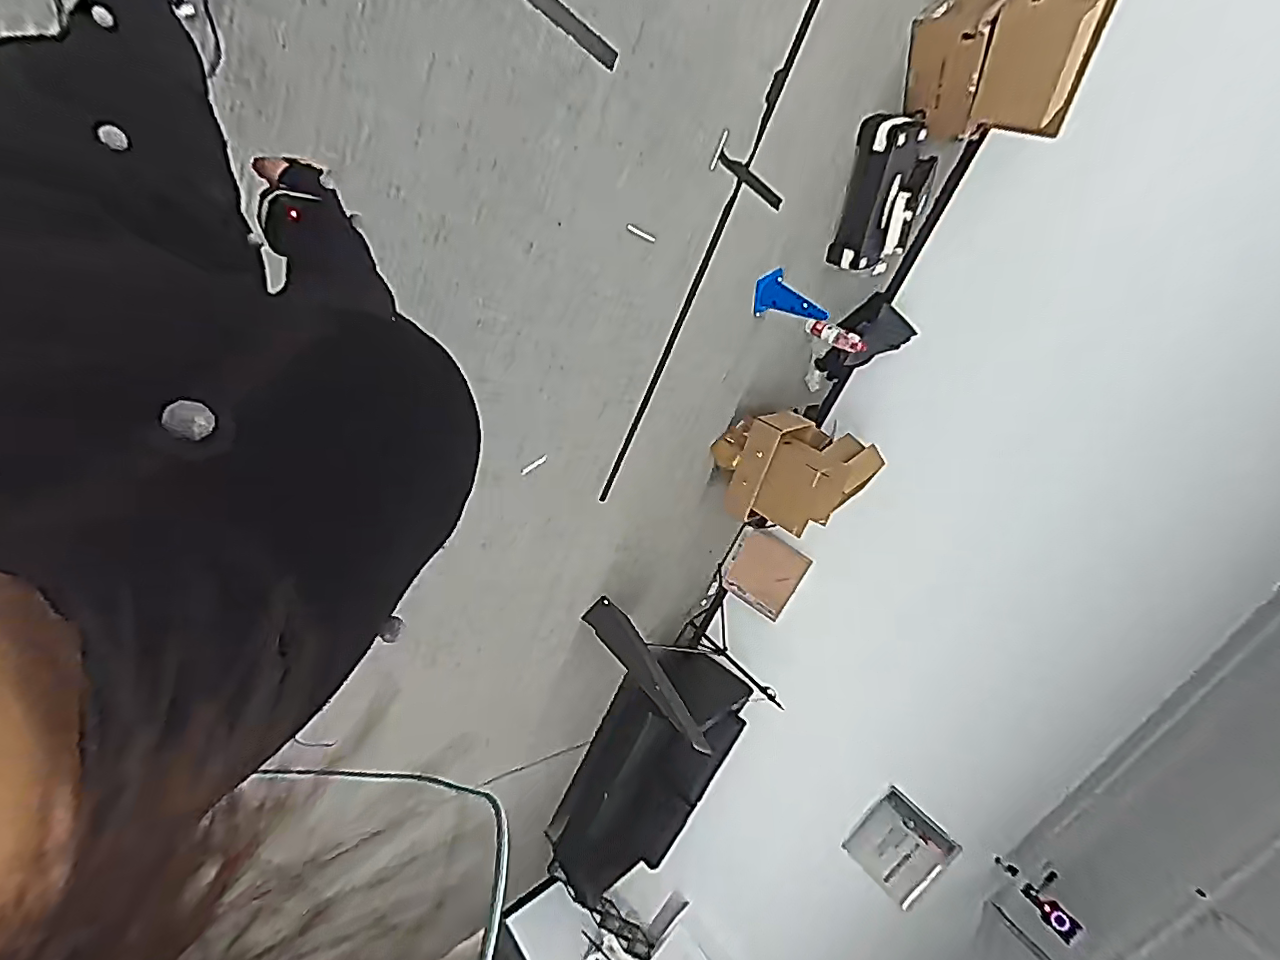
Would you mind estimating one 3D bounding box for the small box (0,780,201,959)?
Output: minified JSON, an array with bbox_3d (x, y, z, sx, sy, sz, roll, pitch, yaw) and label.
[{"bbox_3d":[-0.720,0.547,0.720,0.179,0.176,0.168,-3,123,-49],"label":"small box"}]
